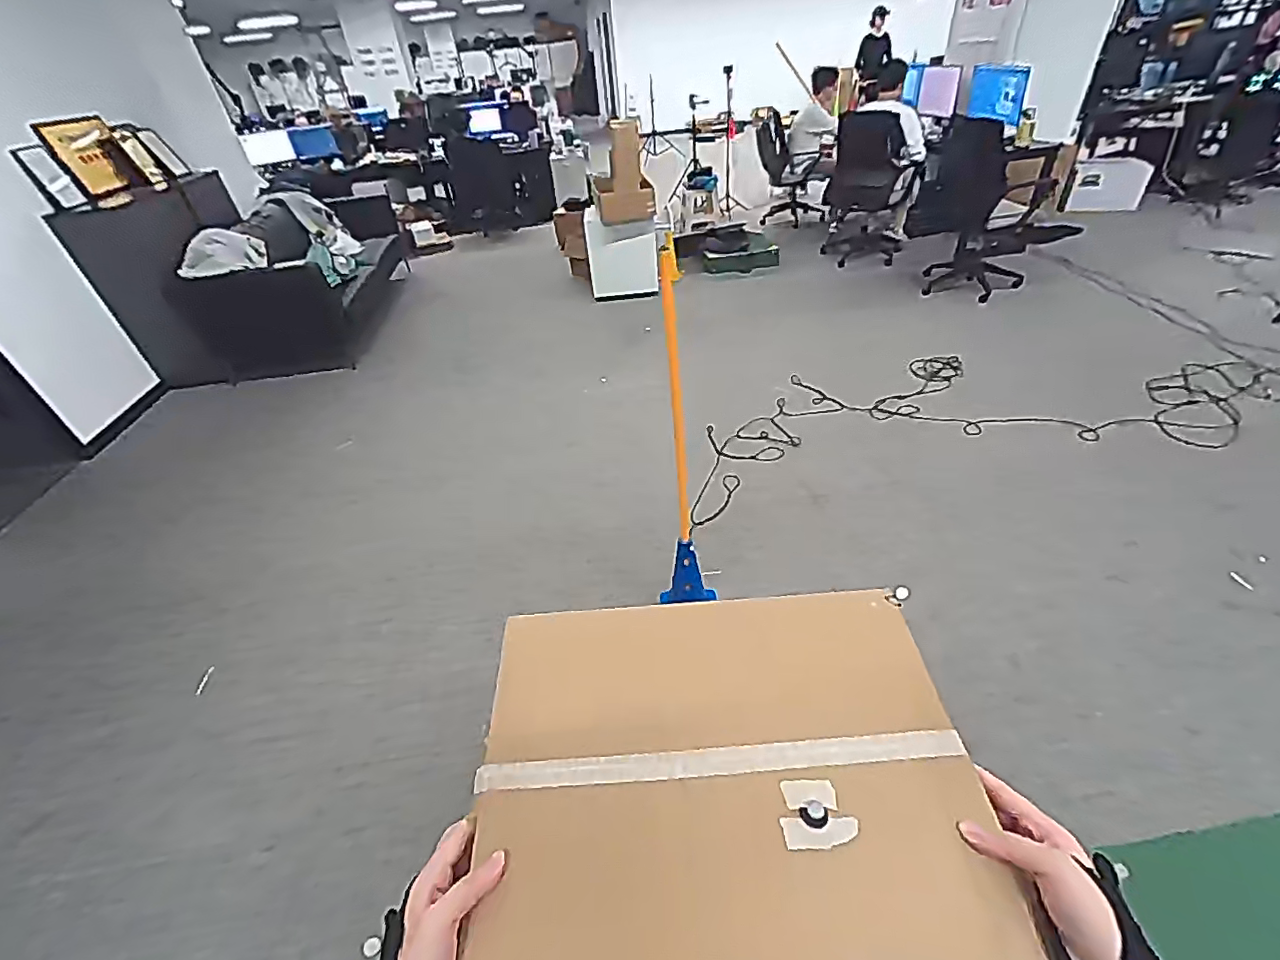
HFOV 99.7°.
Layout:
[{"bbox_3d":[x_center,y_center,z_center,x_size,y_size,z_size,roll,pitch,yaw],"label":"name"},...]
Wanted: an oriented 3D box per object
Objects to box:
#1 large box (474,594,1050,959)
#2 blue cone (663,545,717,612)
[{"bbox_3d":[0.078,0.350,0.568,0.408,0.320,0.320,-4,44,0],"label":"large box"},{"bbox_3d":[0.159,0.349,1.758,0.193,0.380,0.192,-3,39,5],"label":"blue cone"}]
